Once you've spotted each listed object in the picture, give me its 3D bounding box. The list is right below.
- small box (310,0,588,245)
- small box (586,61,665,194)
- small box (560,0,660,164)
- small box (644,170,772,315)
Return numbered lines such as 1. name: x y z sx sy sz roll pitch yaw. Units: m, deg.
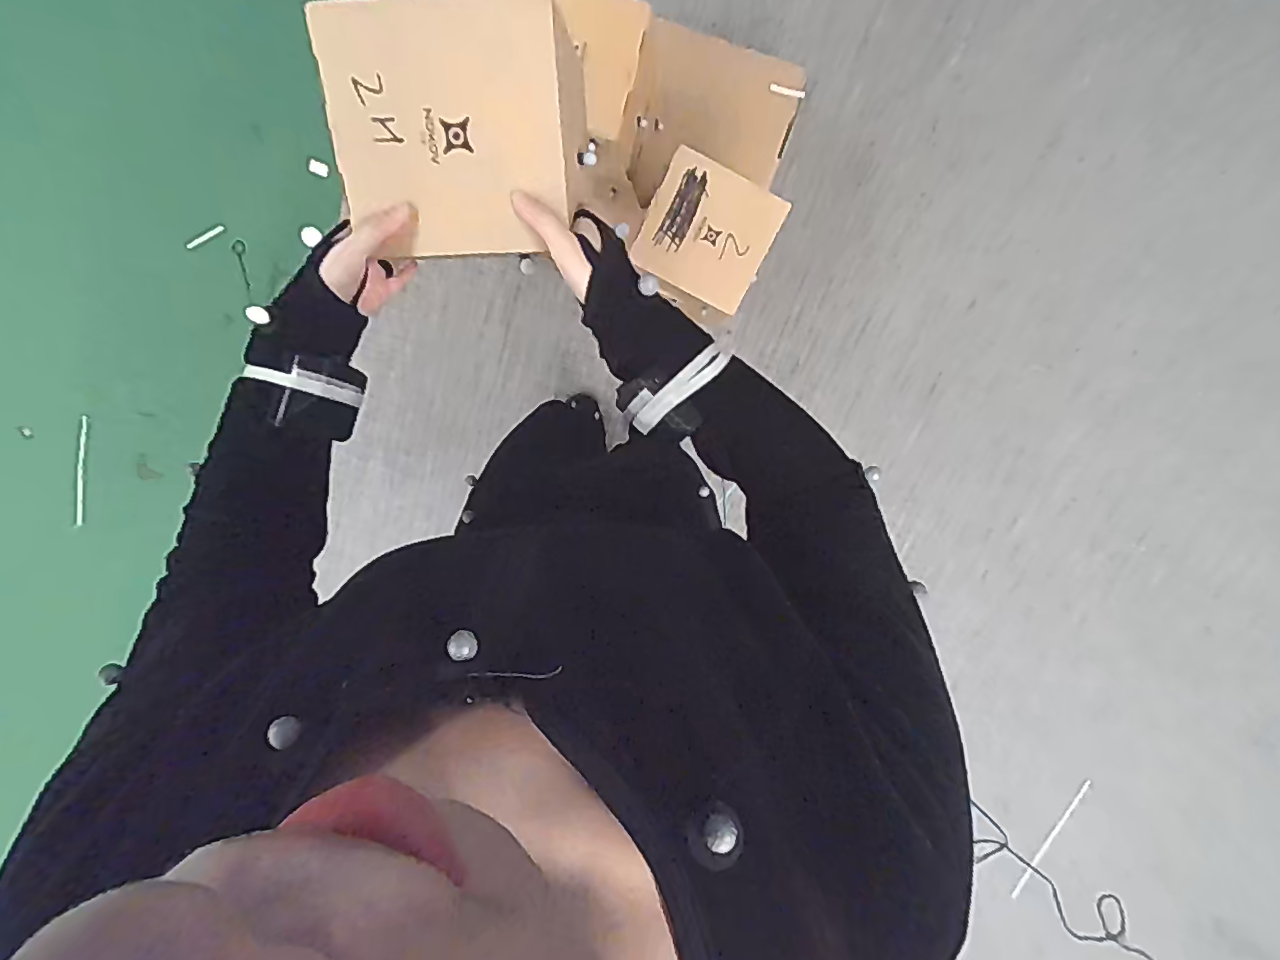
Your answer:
1. small box: -0.140 -0.299 0.475 0.179 0.176 0.168 0 113 3
2. small box: -0.060 -0.622 0.943 0.179 0.176 0.168 17 103 1
3. small box: -0.079 -0.590 0.784 0.179 0.176 0.168 17 103 0
4. small box: 0.115 -0.415 0.977 0.168 0.176 0.179 23 104 -1
